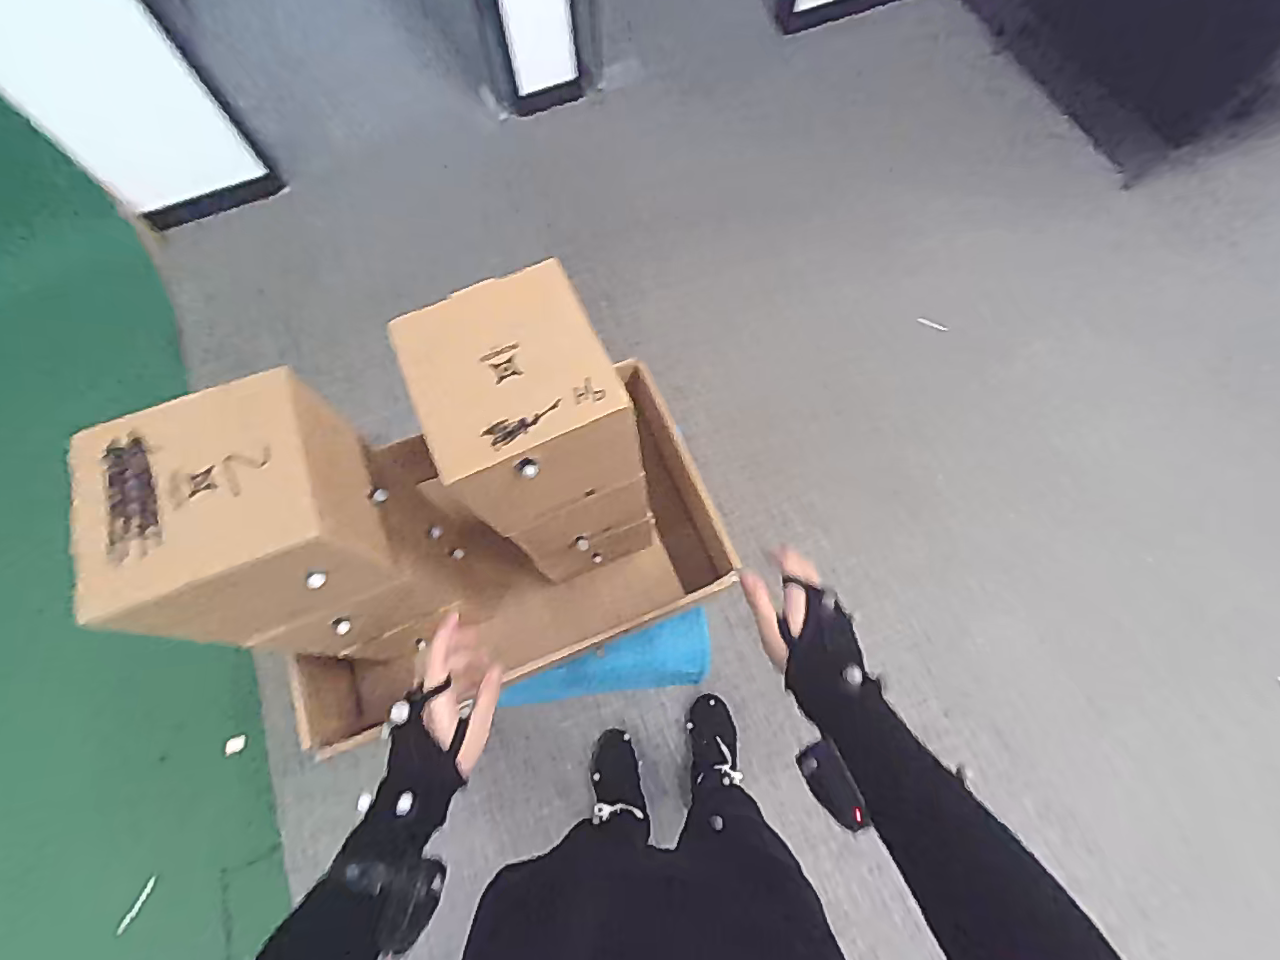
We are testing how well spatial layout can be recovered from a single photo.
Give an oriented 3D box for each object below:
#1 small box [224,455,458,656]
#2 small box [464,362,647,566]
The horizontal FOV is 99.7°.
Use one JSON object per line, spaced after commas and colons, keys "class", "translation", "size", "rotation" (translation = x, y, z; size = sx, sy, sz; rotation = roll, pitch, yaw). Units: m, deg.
{"class": "small box", "translation": [-0.348, 0.101, 0.655], "size": [0.179, 0.176, 0.168], "rotation": [-23, 70, -9]}
{"class": "small box", "translation": [-0.099, -0.012, 0.694], "size": [0.168, 0.176, 0.179], "rotation": [-24, 70, -6]}
